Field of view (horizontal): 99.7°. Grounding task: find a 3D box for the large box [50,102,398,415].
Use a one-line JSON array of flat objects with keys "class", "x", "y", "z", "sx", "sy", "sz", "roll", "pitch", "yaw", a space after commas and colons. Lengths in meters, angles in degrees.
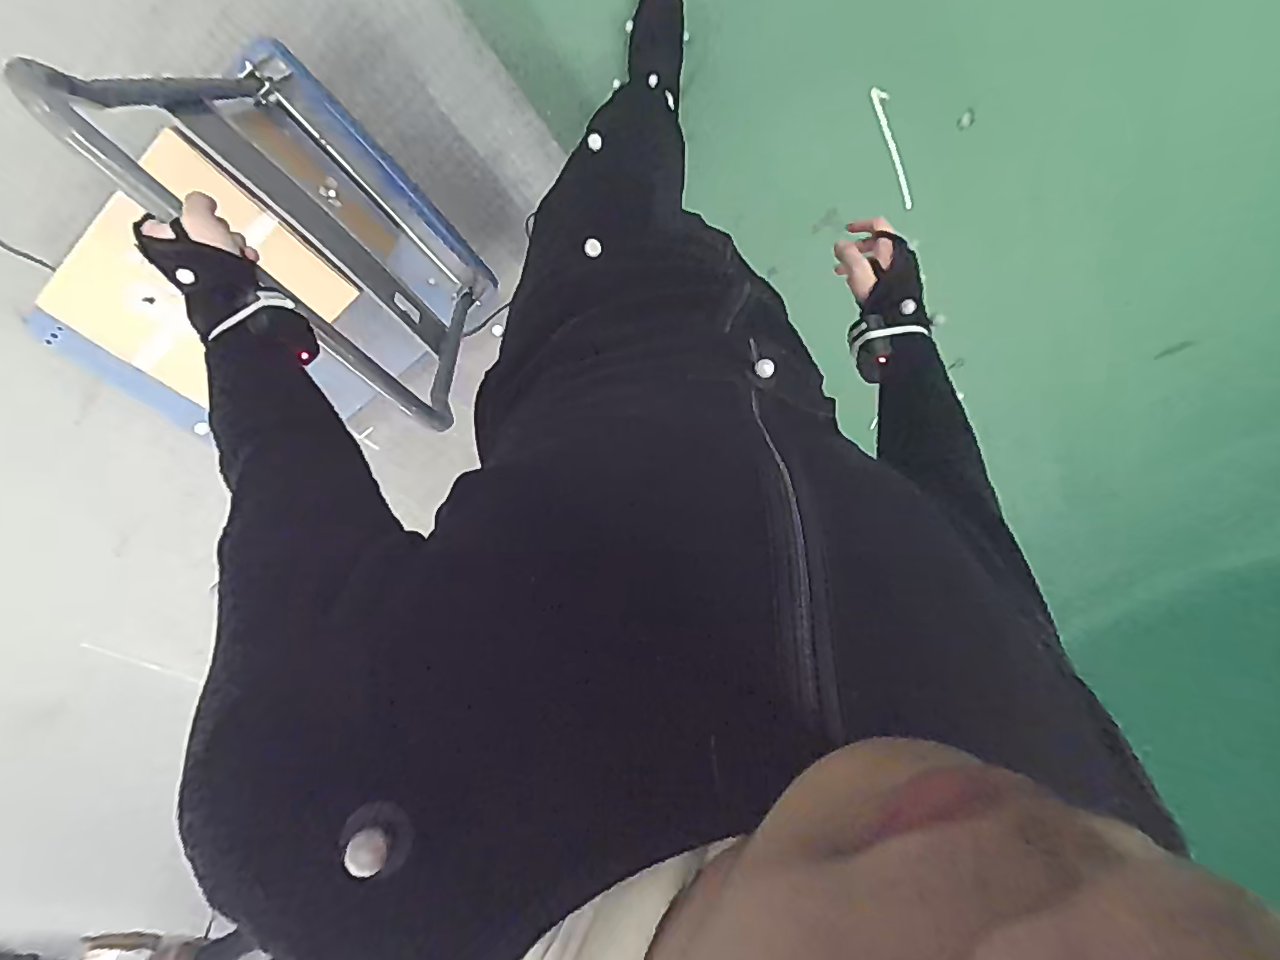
[{"class": "large box", "x": -0.734, "y": -0.409, "z": 1.016, "sx": 0.408, "sy": 0.320, "sz": 0.320, "roll": -33, "pitch": 127, "yaw": 17}]
